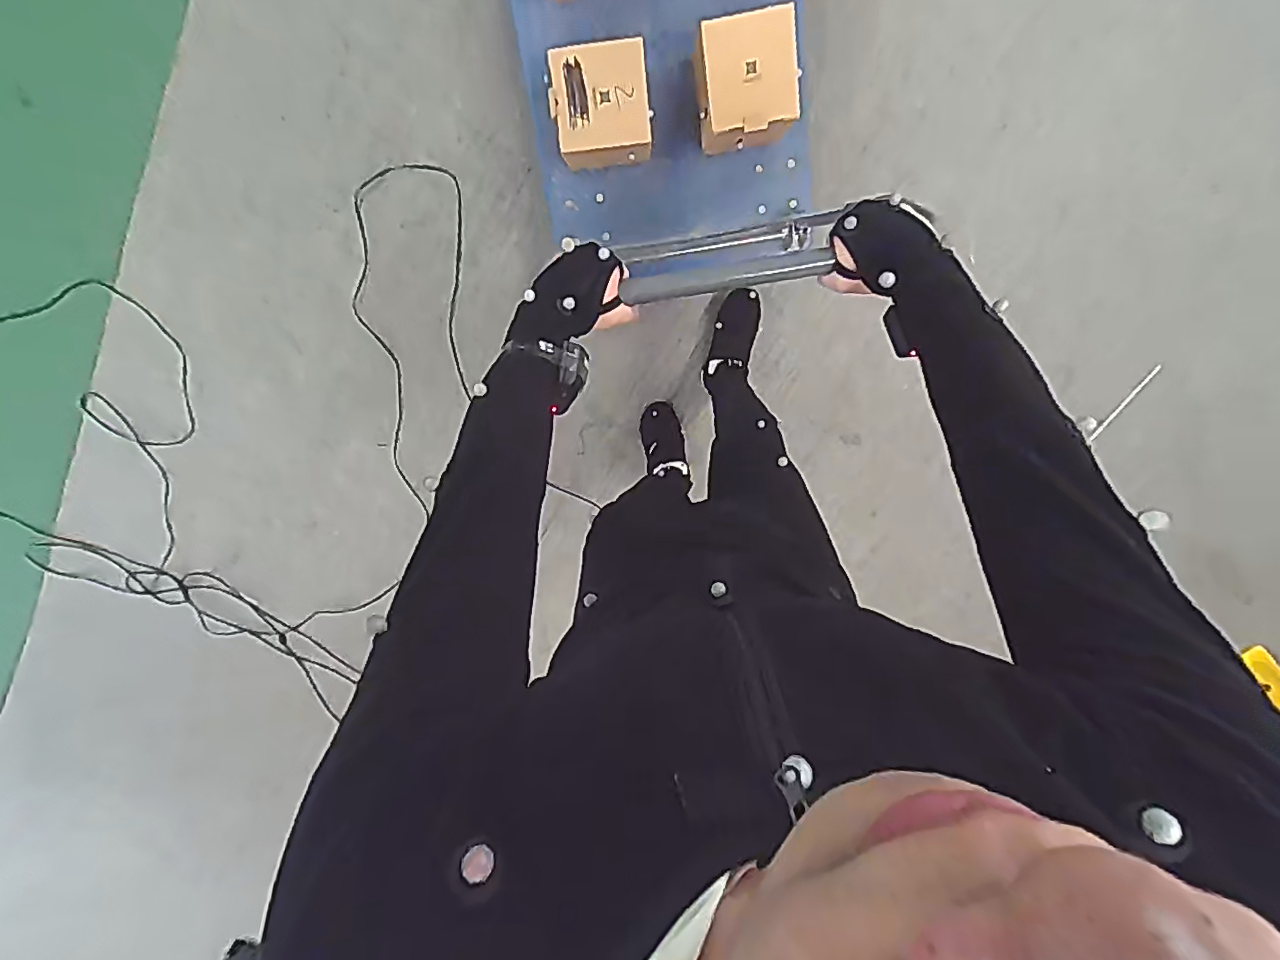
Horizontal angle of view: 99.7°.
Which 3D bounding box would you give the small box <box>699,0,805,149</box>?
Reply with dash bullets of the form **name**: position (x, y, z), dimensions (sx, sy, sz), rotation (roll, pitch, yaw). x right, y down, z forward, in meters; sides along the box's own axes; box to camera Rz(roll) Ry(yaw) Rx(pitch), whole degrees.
- **small box**: position (0.211, -0.767, 1.043), dimensions (0.168, 0.176, 0.179), rotation (-9, 110, 4)
